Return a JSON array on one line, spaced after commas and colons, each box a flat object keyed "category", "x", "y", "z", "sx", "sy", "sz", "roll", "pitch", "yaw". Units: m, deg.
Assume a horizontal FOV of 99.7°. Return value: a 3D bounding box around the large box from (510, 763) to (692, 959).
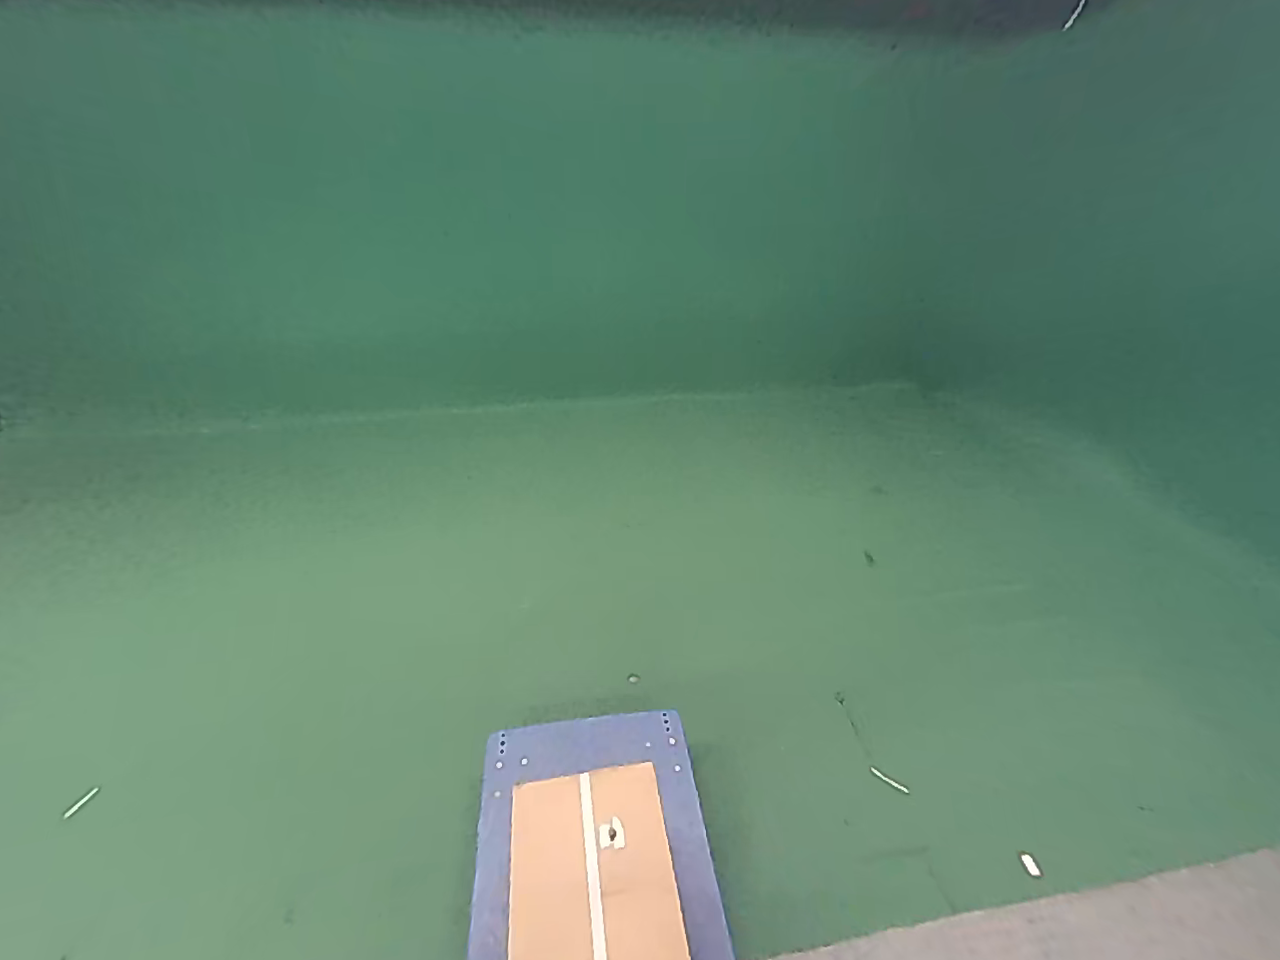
[{"category": "large box", "x": -0.088, "y": 0.890, "z": 1.124, "sx": 0.320, "sy": 0.320, "sz": 0.408, "roll": -5, "pitch": 34, "yaw": -8}]
